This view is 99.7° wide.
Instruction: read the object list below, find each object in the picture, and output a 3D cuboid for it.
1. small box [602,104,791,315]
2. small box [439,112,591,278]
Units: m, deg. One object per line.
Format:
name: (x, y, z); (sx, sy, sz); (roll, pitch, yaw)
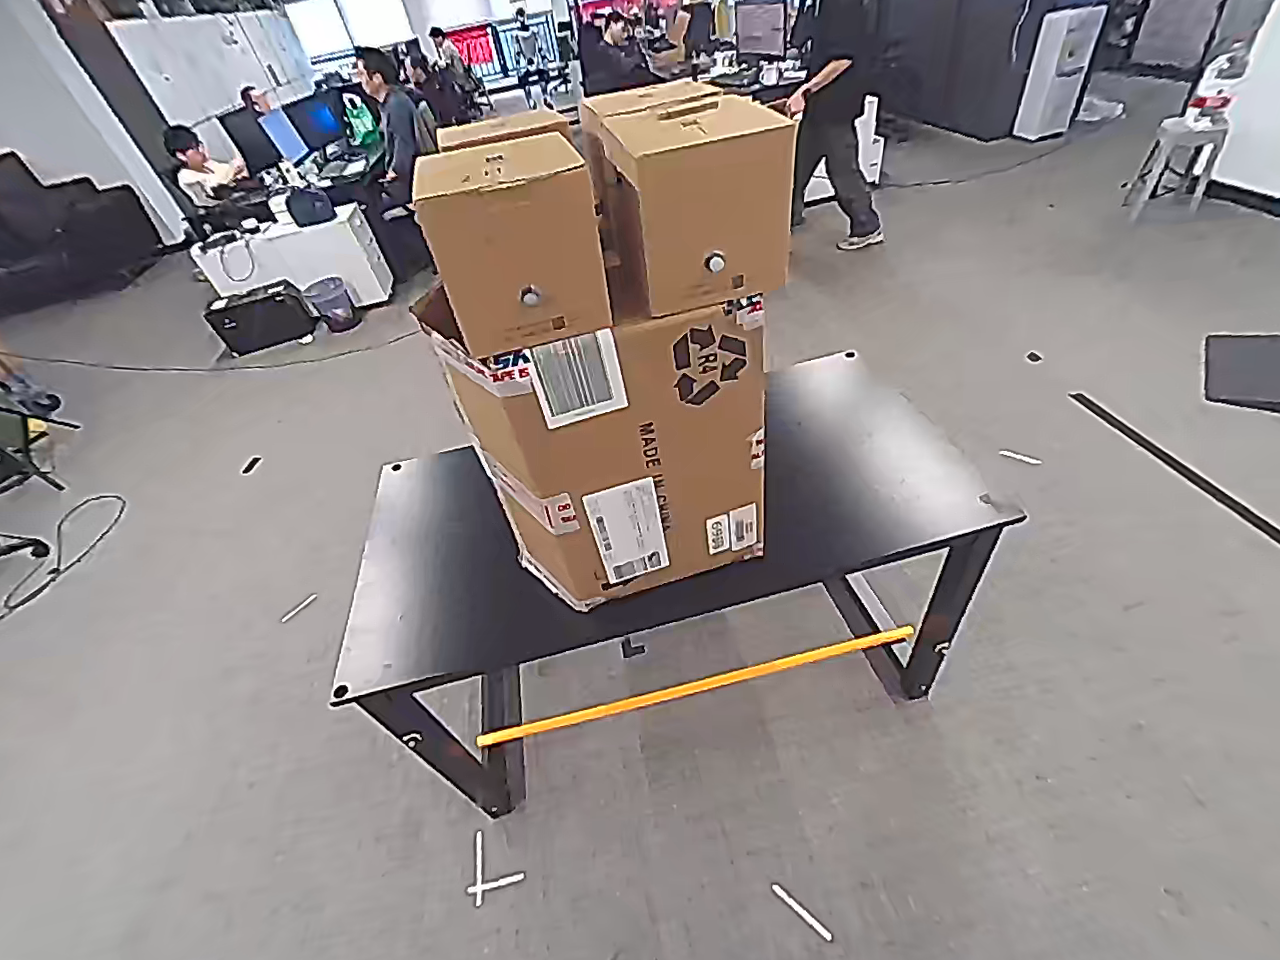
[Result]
small box: (0.060, -0.317, 0.634); (0.168, 0.176, 0.179); (-15, 44, -4)
small box: (-0.180, -0.414, 0.785); (0.168, 0.176, 0.179); (-18, 41, -8)
